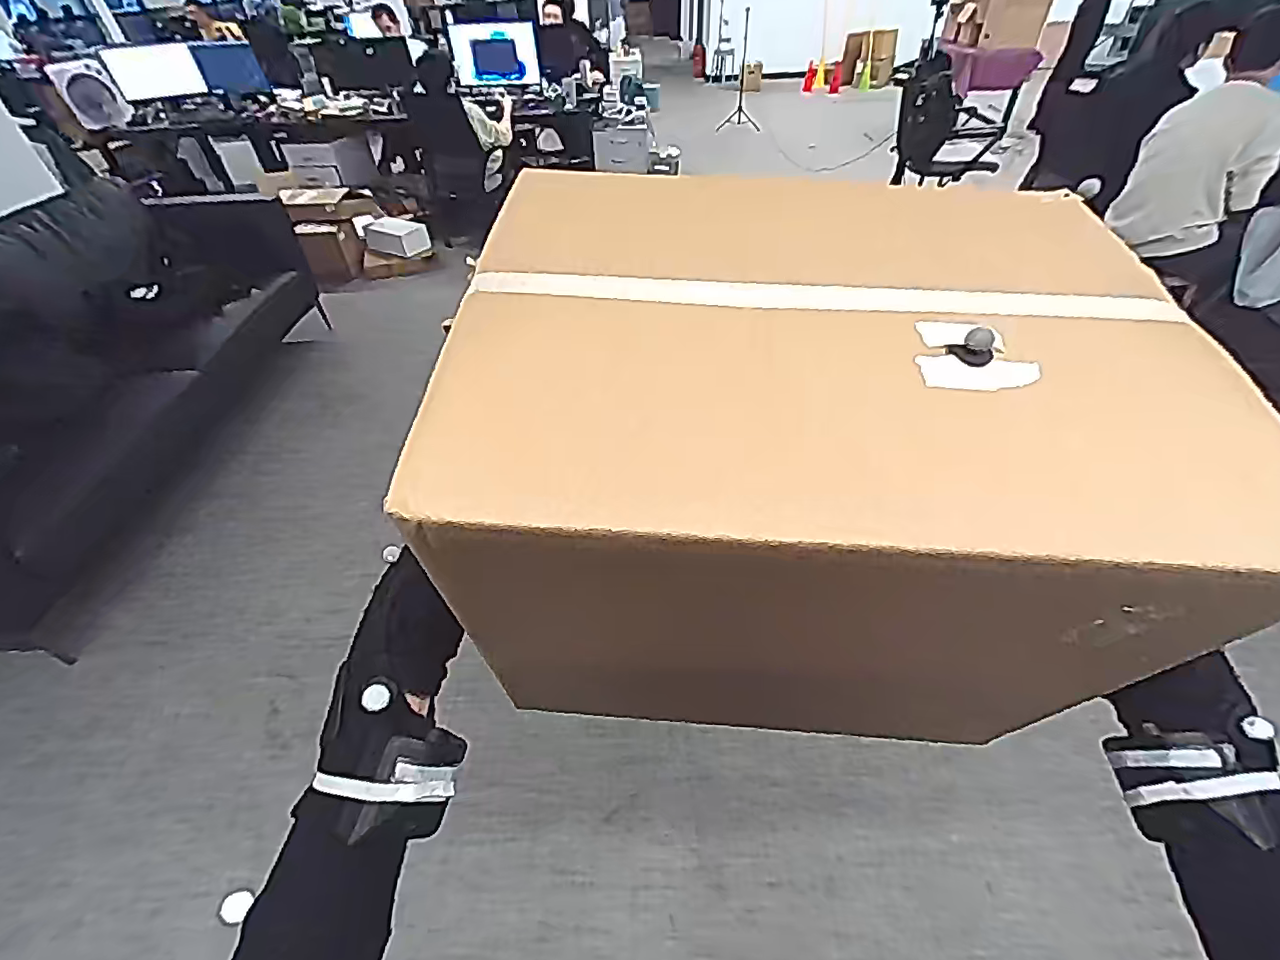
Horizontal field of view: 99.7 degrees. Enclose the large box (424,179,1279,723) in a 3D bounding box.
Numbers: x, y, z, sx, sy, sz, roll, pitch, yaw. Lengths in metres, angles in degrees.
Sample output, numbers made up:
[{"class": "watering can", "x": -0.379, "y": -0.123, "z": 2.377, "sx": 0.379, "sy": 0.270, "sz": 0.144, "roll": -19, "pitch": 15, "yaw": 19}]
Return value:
[{"class": "large box", "x": 0.104, "y": -0.009, "z": 0.440, "sx": 0.408, "sy": 0.320, "sz": 0.320, "roll": 4, "pitch": 54, "yaw": 1}]
